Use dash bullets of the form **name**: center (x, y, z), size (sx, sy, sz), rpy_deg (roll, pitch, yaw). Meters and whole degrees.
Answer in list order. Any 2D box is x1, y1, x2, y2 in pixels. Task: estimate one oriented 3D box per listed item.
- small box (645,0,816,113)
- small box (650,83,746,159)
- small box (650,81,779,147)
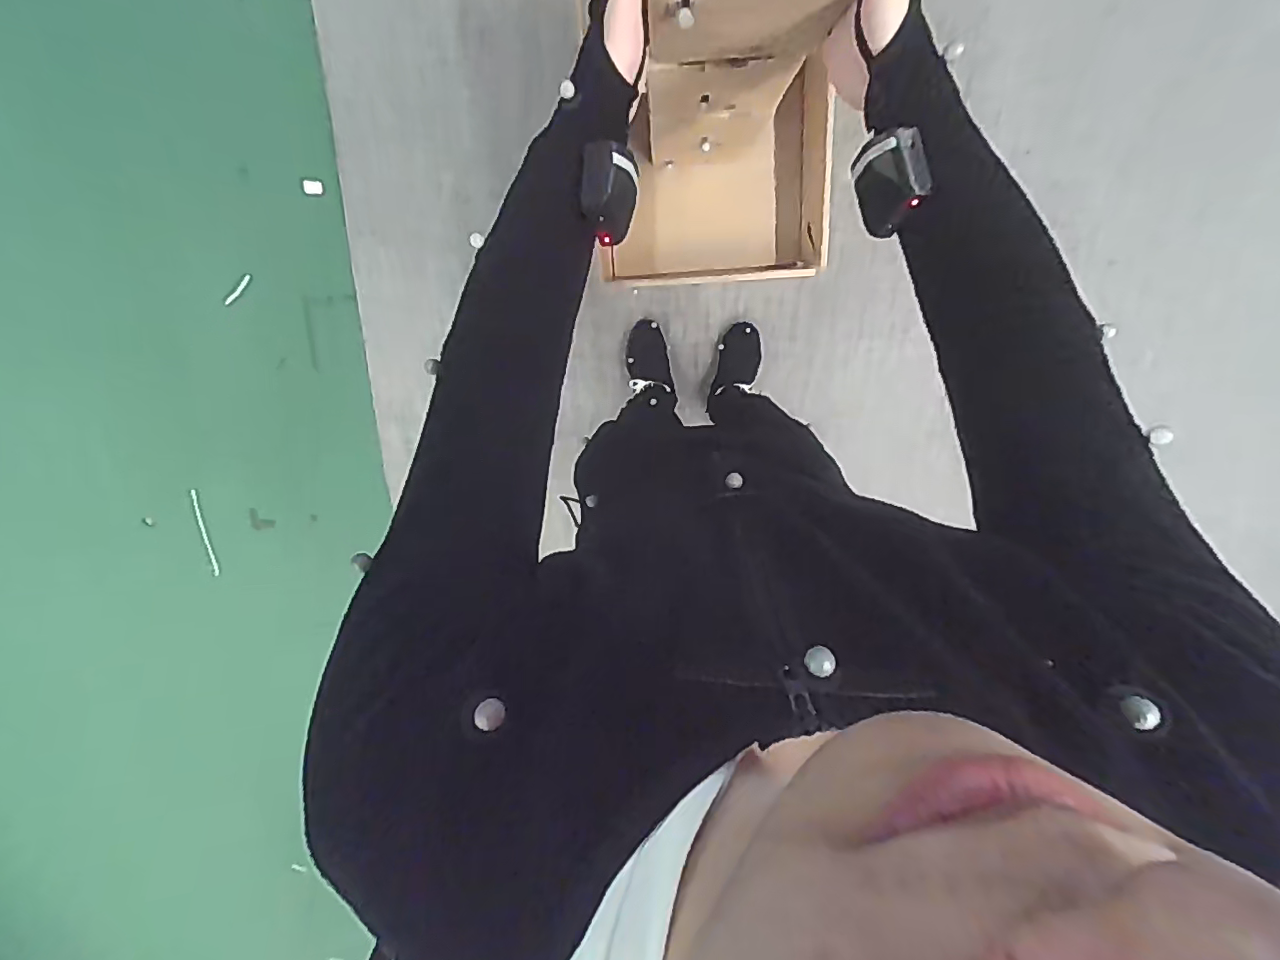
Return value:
- **small box**: center (0.090, -0.536, 0.595), size (0.168, 0.176, 0.179), rpy_deg (-3, 110, 3)
- **small box**: center (0.101, -0.650, 0.901), size (0.168, 0.176, 0.179), rpy_deg (-2, 108, 2)
- **small box**: center (0.097, -0.586, 0.749), size (0.168, 0.176, 0.179), rpy_deg (-2, 109, 3)
